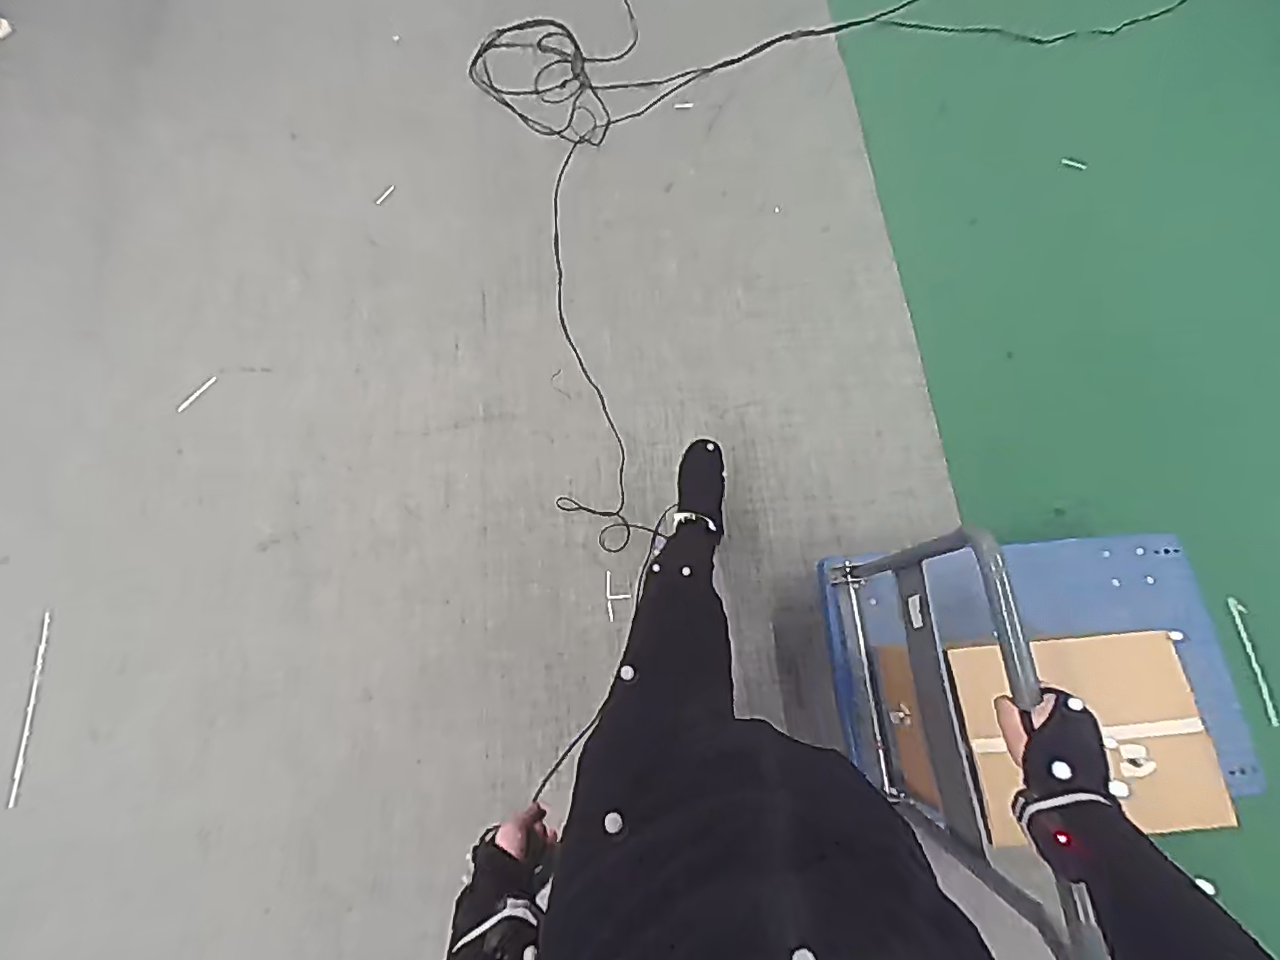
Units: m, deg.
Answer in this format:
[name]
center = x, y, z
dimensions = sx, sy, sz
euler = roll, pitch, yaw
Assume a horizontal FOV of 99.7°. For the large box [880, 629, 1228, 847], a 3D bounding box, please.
[large box]
center = 0.764, 0.481, 1.075
dimensions = 0.408, 0.320, 0.320
euler = -5, 74, -1
